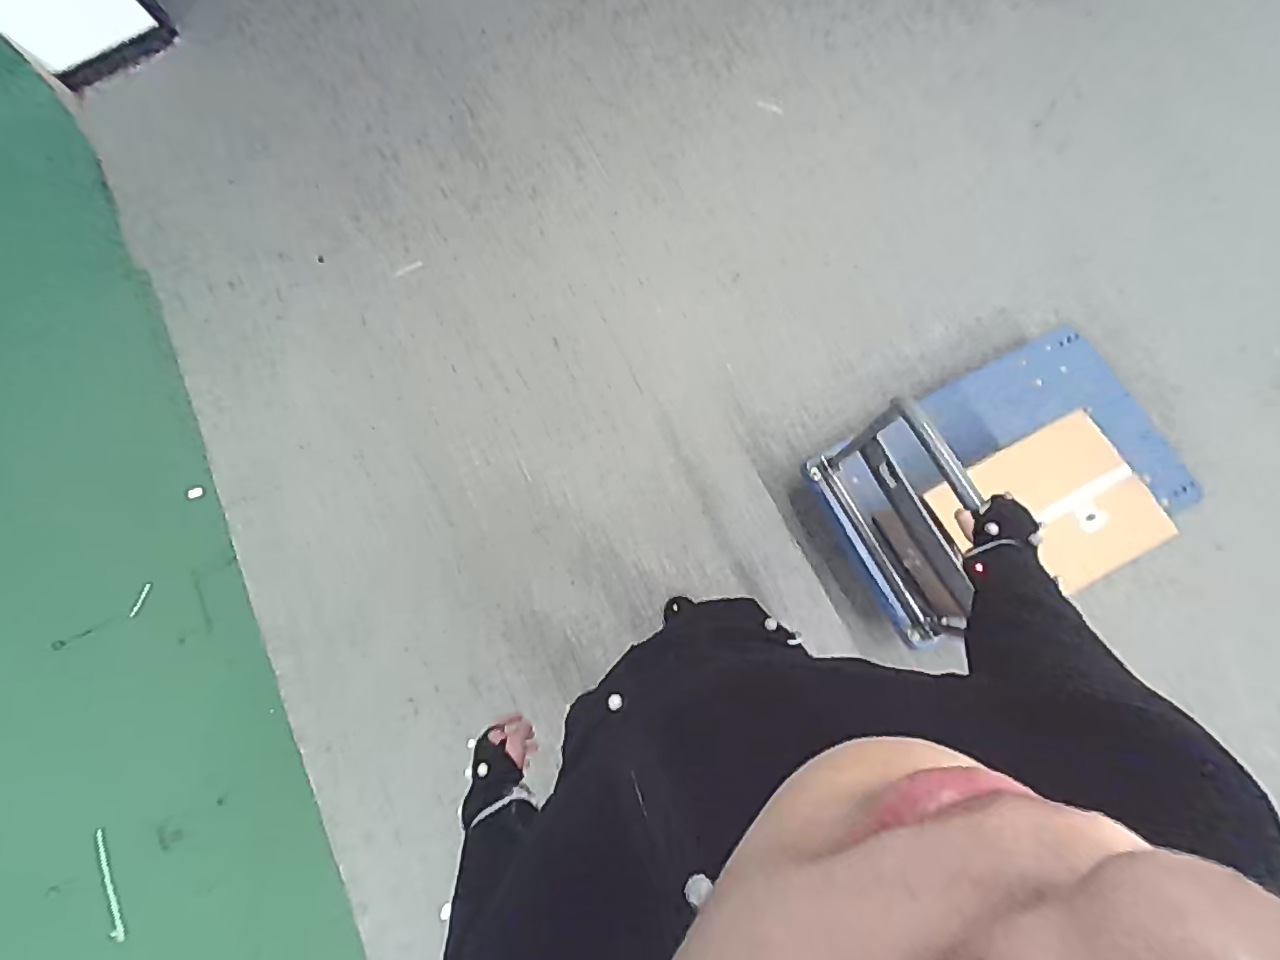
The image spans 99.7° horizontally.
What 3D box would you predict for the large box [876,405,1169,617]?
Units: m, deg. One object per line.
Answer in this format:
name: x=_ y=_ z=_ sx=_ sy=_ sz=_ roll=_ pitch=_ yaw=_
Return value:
large box: x=0.863 y=0.092 z=1.287 sx=0.408 sy=0.320 sz=0.320 roll=-28 pitch=78 yaw=-2
